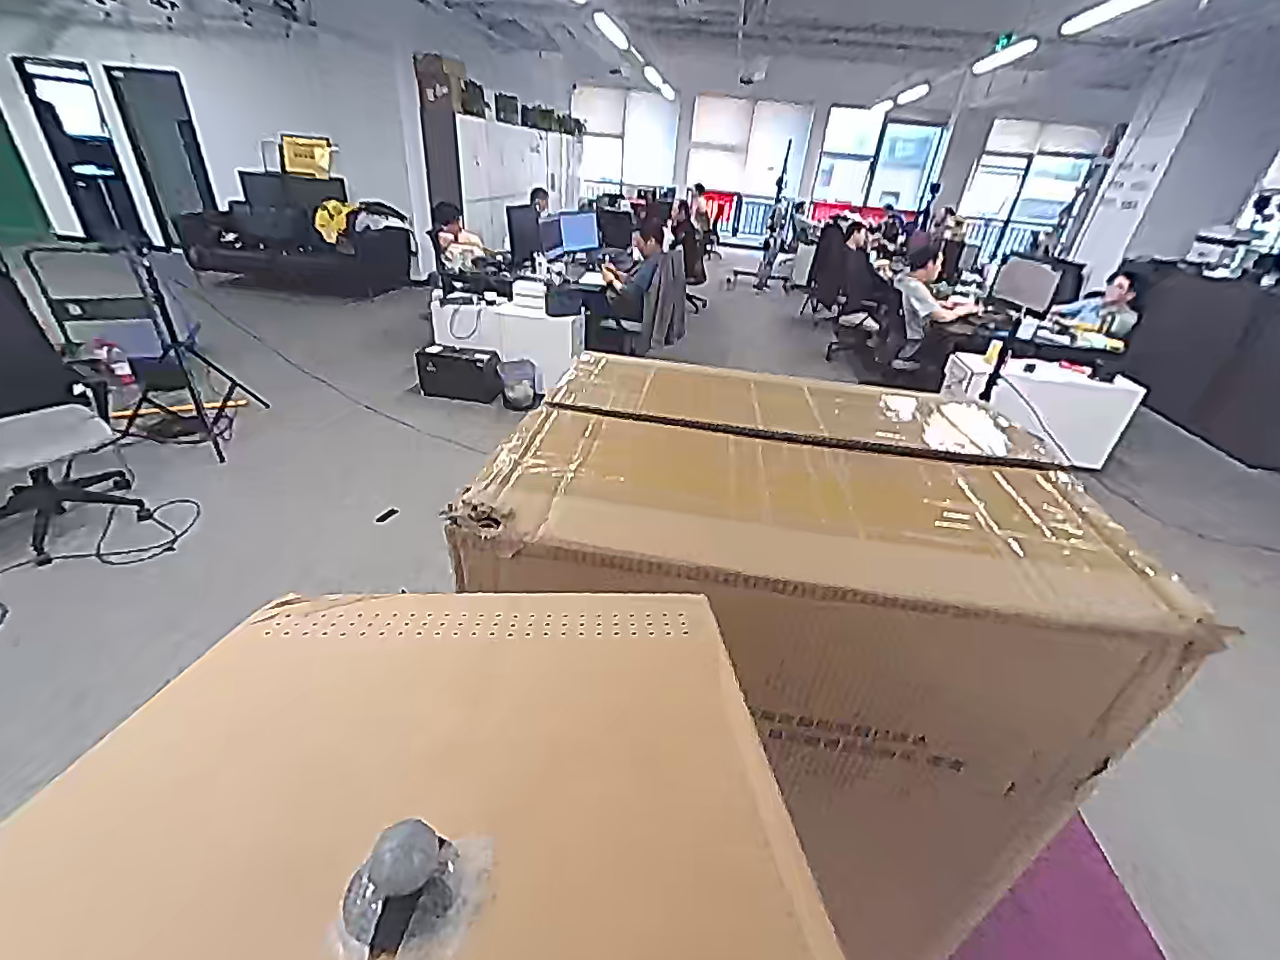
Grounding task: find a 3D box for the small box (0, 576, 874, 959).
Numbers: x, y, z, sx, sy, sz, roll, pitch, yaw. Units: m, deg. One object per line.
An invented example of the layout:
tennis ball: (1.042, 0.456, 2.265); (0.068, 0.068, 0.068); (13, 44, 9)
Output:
small box: (-0.046, 0.137, 0.162); (0.179, 0.168, 0.176); (1, 14, -3)
